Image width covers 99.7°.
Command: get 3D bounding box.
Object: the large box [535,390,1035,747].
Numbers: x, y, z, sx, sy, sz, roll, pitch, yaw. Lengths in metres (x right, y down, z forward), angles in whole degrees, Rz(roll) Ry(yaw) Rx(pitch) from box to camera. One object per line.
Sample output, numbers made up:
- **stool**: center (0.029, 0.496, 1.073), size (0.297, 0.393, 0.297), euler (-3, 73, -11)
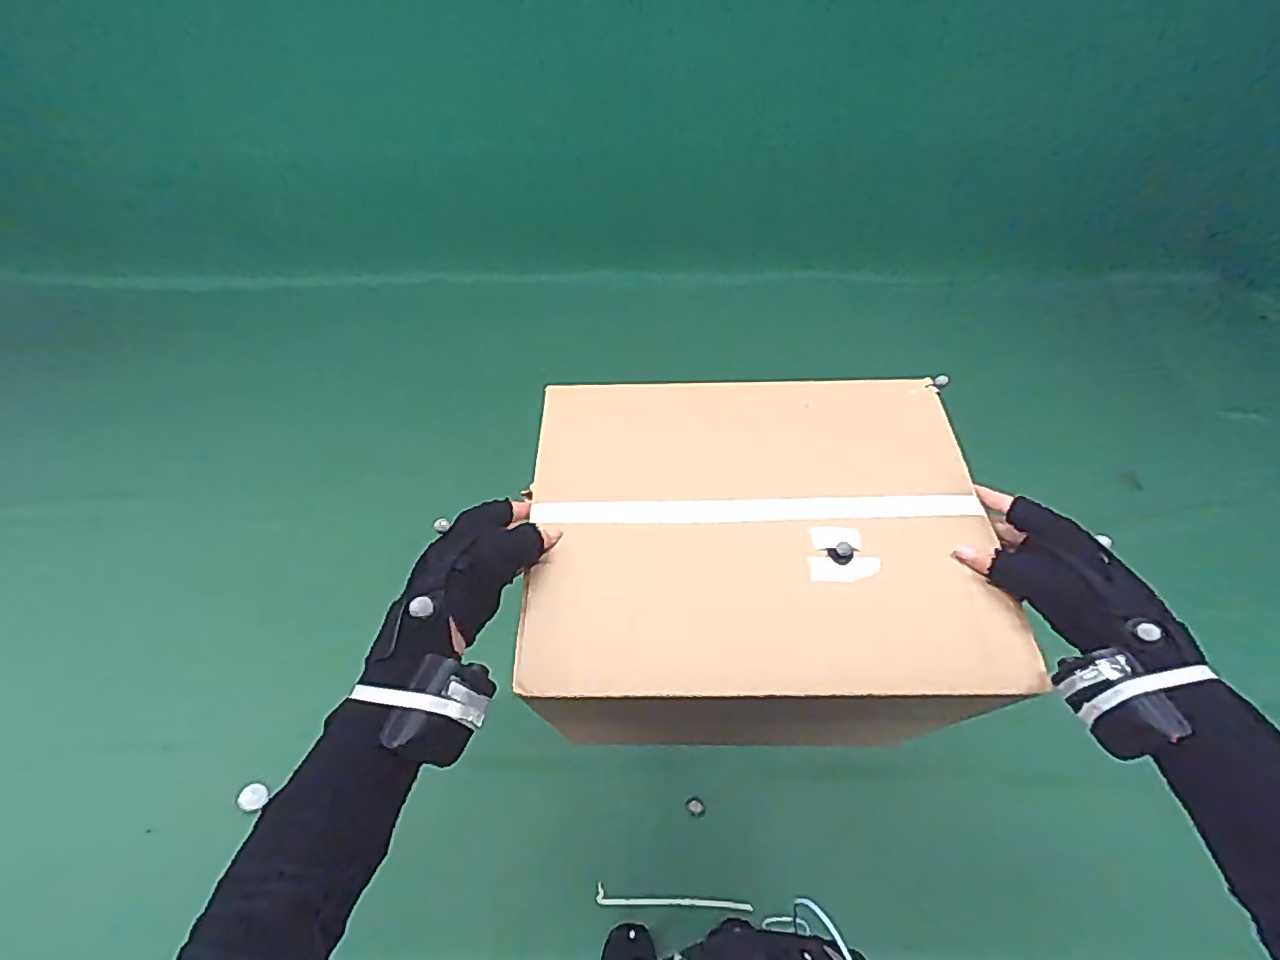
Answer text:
- **large box**: center (0.112, 0.116, 0.627), size (0.408, 0.320, 0.320), euler (-1, 58, 1)
